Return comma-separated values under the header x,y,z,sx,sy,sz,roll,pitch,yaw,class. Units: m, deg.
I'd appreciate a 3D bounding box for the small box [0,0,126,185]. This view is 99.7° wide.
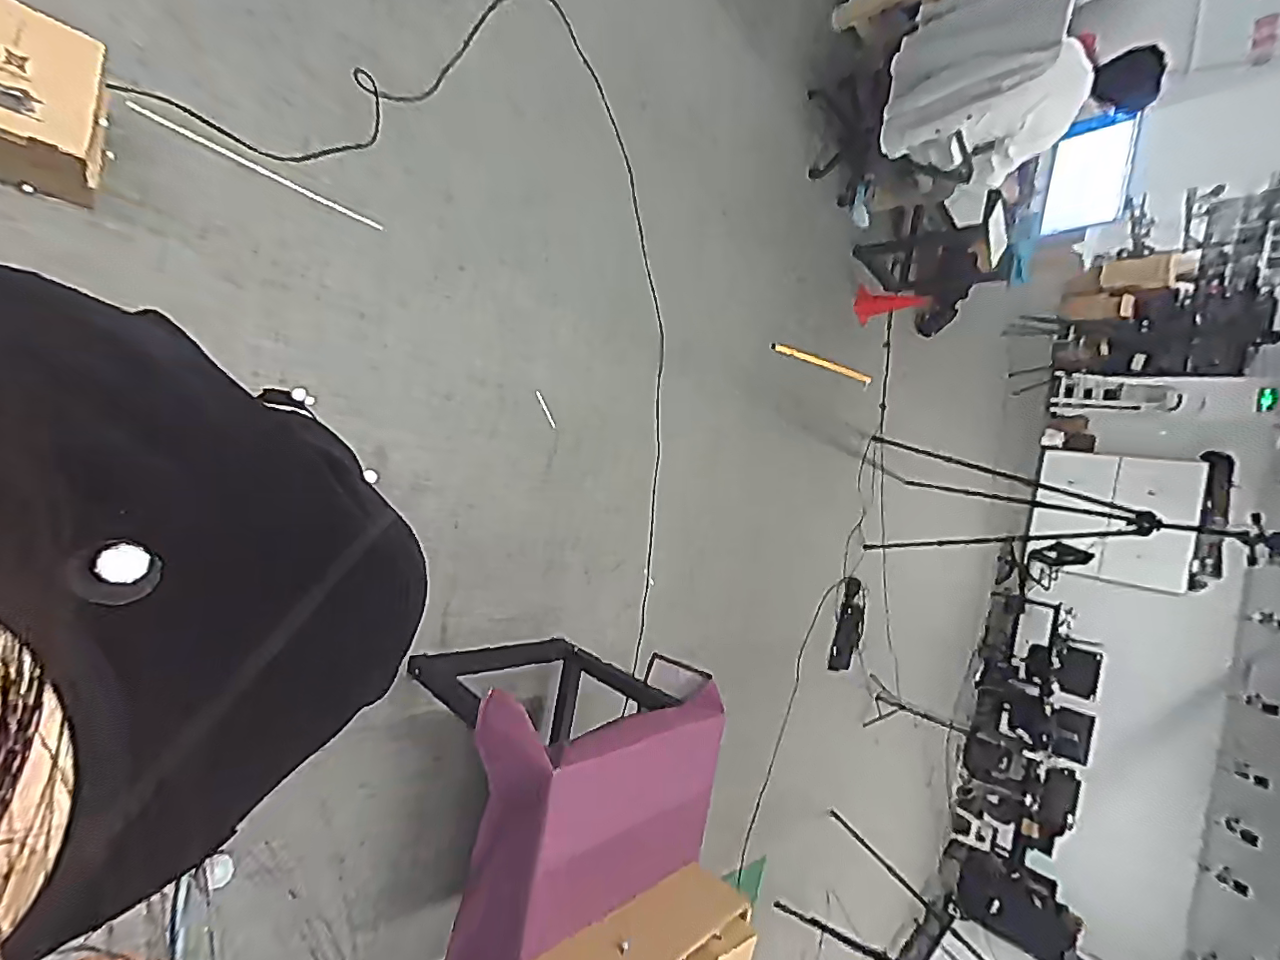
x,y,z,sx,sy,sz,roll,pitch,yaw,class
-0.912,-0.589,0.827,0.168,0.176,0.179,9,91,-44,small box
